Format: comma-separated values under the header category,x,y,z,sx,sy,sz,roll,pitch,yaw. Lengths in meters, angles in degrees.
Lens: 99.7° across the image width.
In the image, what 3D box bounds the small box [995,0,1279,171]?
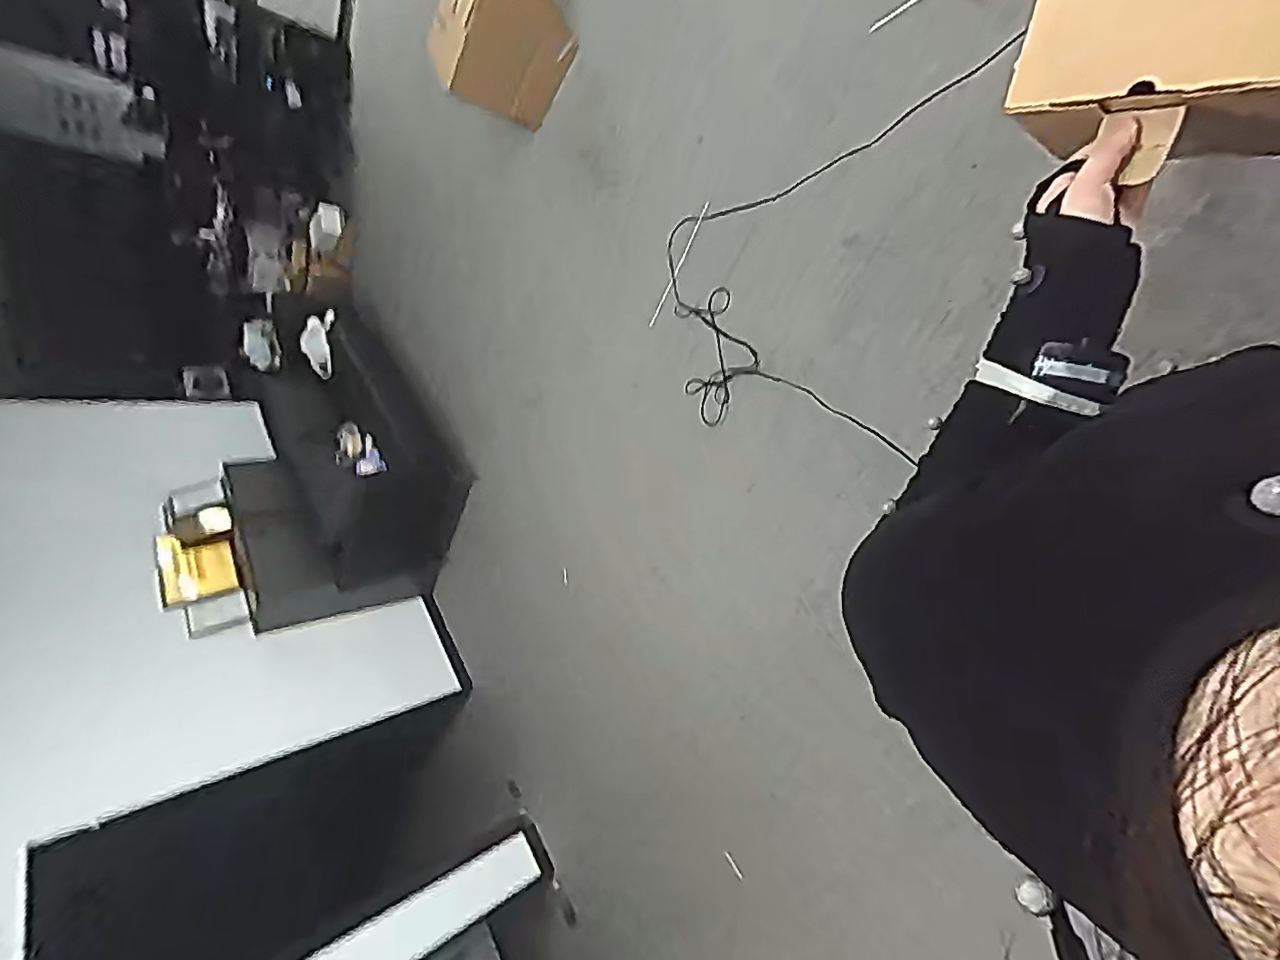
category,x,y,z,sx,sy,sz,roll,pitch,yaw
small box,0.400,-0.343,0.392,0.168,0.176,0.179,28,120,43
